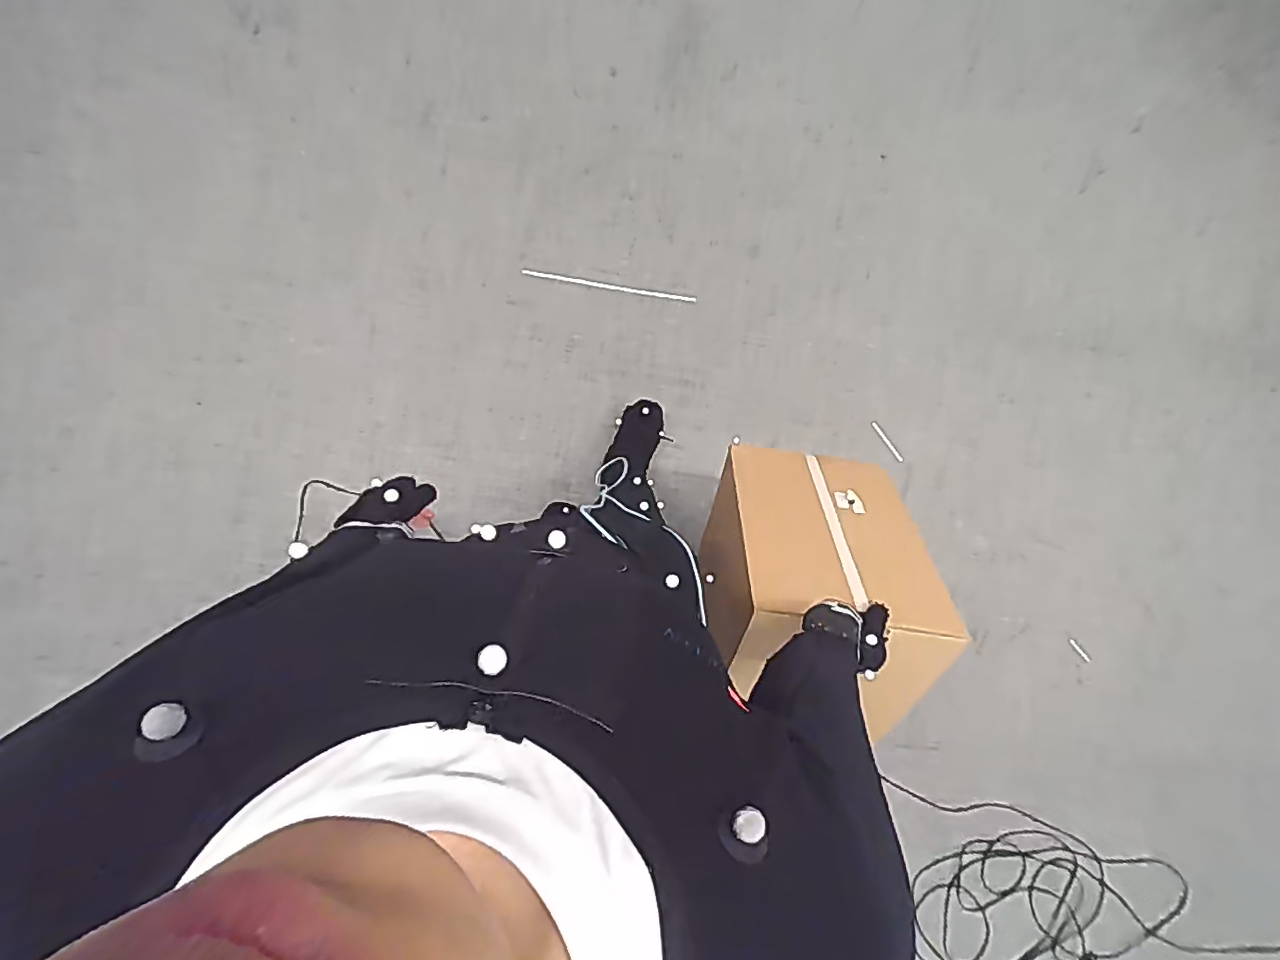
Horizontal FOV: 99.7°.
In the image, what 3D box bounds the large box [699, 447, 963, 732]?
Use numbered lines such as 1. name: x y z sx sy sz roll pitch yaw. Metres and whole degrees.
1. large box: 0.297 0.194 1.005 0.320 0.408 0.320 9 128 -4
